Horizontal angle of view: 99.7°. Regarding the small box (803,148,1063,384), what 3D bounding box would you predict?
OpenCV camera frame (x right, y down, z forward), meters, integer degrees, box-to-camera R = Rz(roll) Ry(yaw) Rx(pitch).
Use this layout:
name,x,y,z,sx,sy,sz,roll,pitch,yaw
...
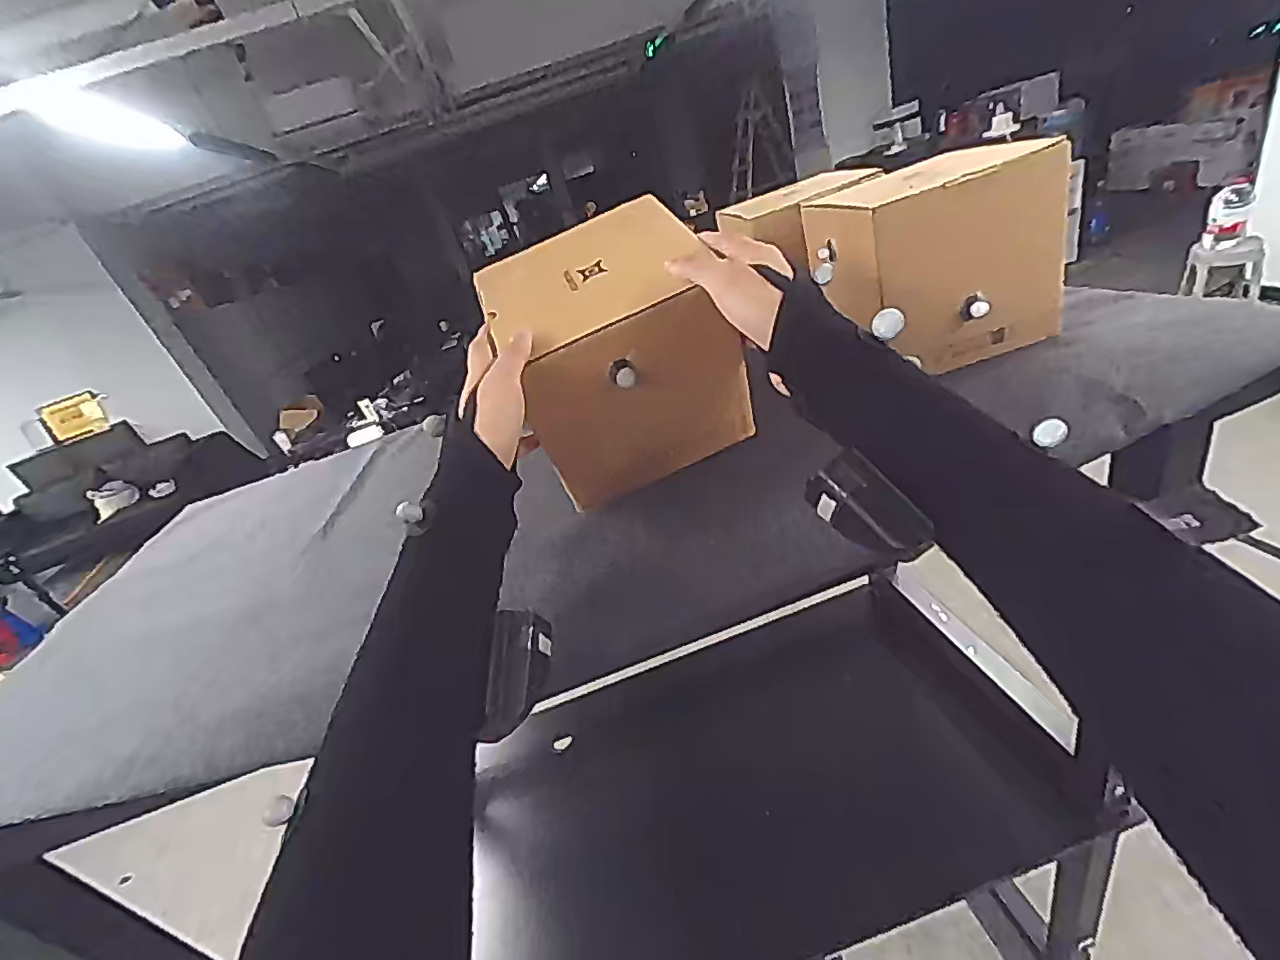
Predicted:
name,x,y,z,sx,sy,sz,roll,pitch,yaw
small box,0.286,-0.217,0.558,0.168,0.176,0.179,-18,28,4

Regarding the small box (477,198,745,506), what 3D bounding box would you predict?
name,x,y,z,sx,sy,sz,roll,pitch,yaw
small box,-0.018,-0.110,0.482,0.179,0.176,0.168,-25,48,-1
